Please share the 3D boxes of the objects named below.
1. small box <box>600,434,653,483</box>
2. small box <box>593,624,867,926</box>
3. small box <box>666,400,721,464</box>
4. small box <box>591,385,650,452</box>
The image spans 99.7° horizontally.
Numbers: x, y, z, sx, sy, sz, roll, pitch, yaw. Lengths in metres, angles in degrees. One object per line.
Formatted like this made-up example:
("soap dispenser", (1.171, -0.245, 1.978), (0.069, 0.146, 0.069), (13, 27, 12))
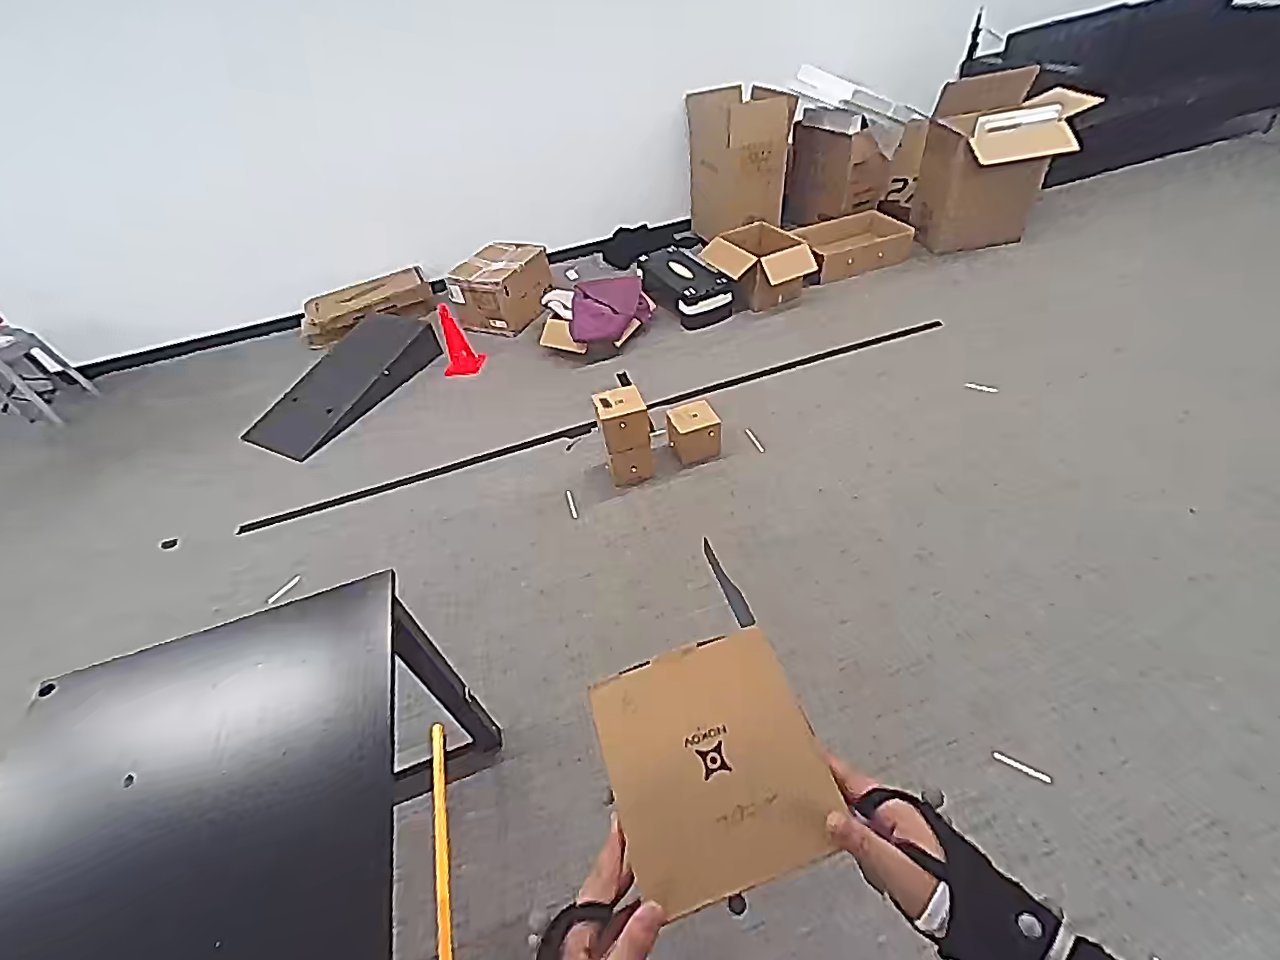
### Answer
("small box", (-0.052, -0.106, 2.153), (0.168, 0.176, 0.179), (-16, 45, -6))
("small box", (0.065, 0.261, 0.485), (0.168, 0.176, 0.179), (-17, 55, -6))
("small box", (0.217, -0.195, 2.198), (0.179, 0.176, 0.168), (-18, 45, -9))
("small box", (-0.072, -0.229, 2.043), (0.179, 0.176, 0.168), (-15, 44, -7))
